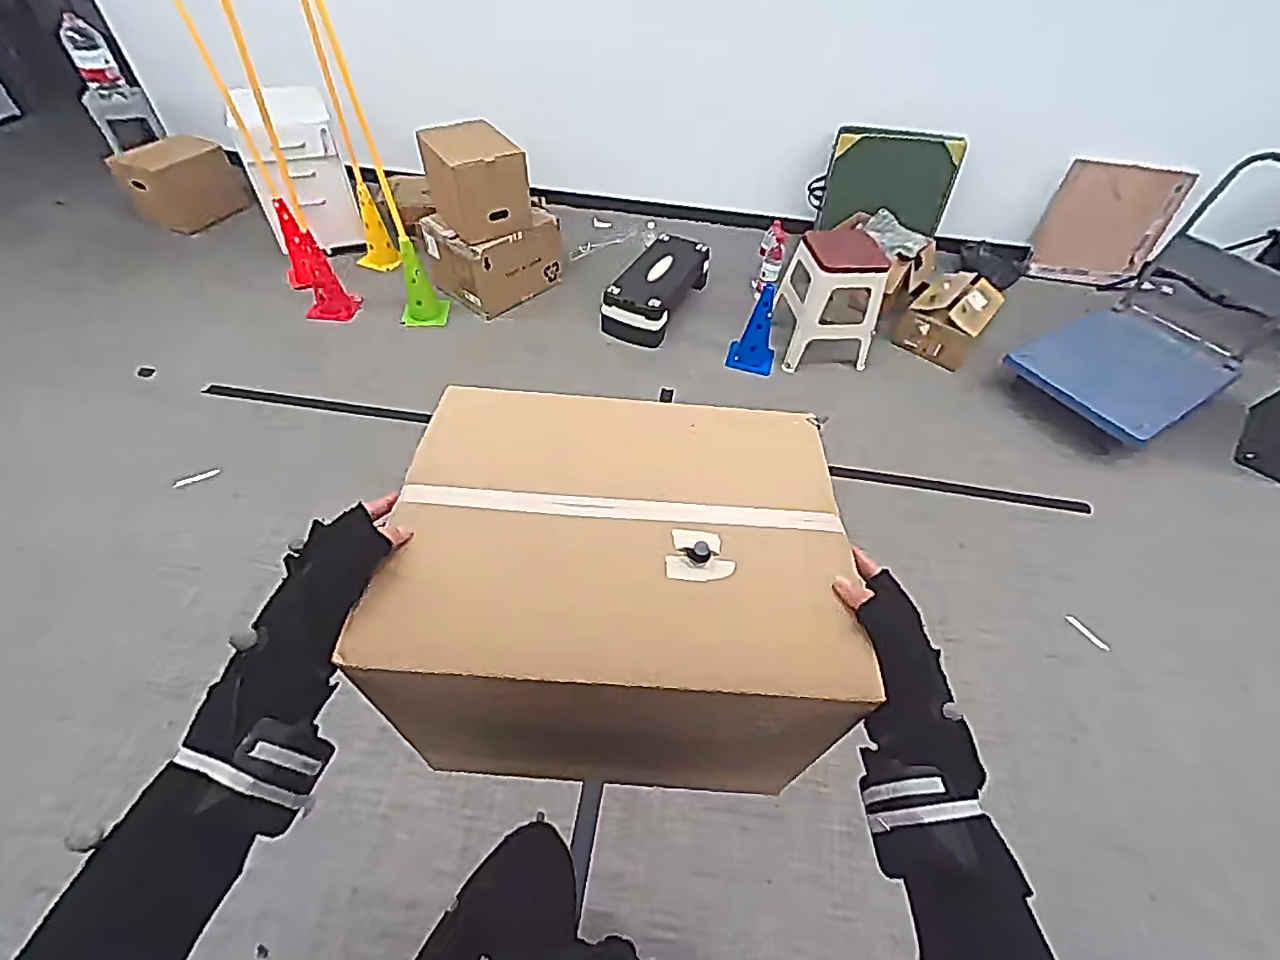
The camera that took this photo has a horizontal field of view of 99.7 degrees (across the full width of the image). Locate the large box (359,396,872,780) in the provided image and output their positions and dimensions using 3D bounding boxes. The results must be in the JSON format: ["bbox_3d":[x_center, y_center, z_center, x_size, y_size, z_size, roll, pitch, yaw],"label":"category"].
[{"bbox_3d":[-0.023,0.131,0.619,0.408,0.320,0.320,5,50,-2],"label":"large box"}]
